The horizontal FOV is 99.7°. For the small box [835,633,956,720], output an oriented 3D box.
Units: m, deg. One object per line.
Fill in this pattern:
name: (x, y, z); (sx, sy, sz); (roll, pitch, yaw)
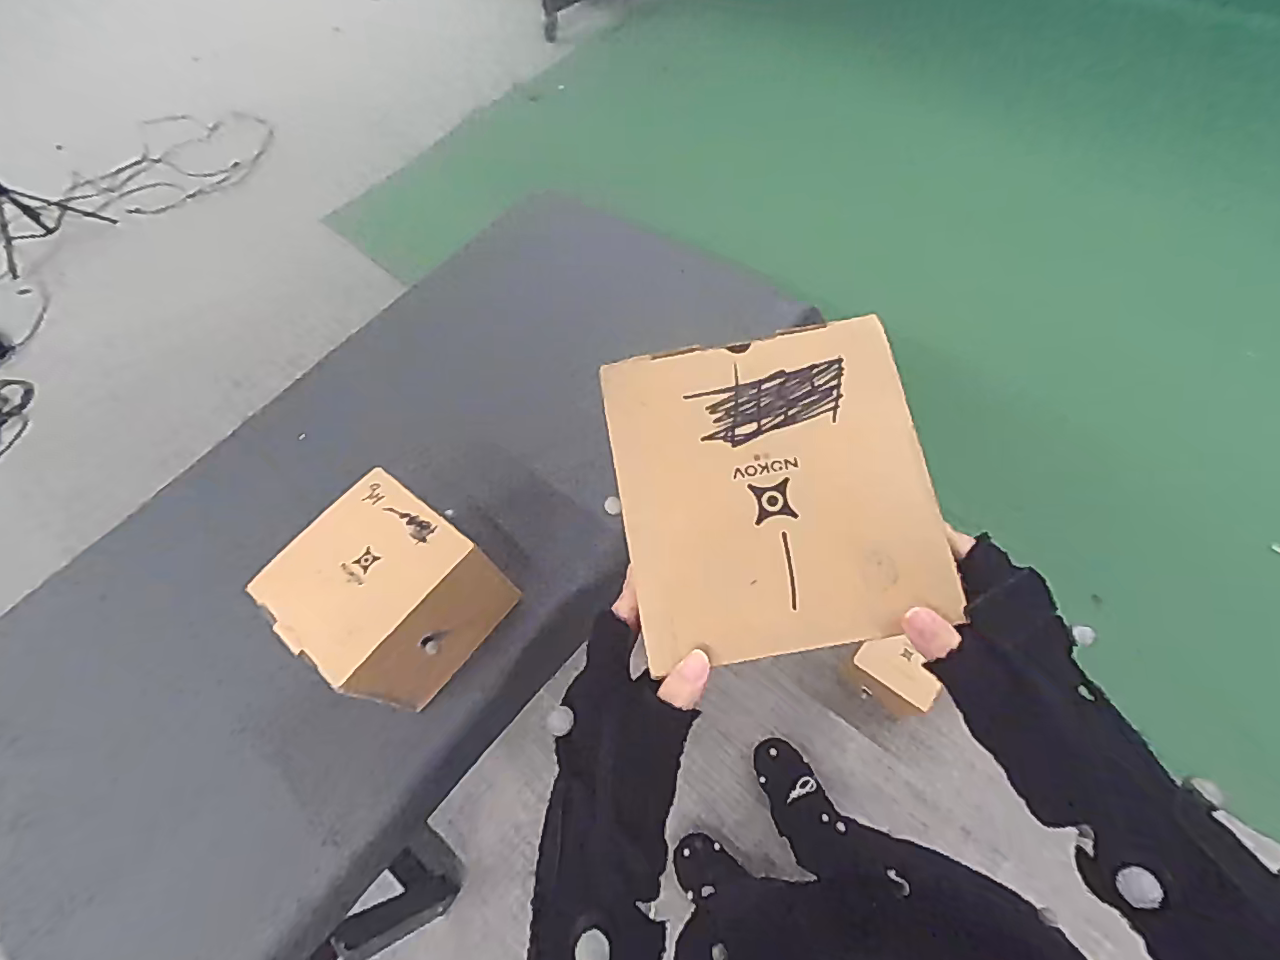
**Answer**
small box: (0.561, 0.411, 1.212); (0.168, 0.176, 0.179); (34, 71, 22)

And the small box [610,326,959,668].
small box: (0.076, 0.022, 0.373); (0.168, 0.176, 0.179); (-9, 77, 2)

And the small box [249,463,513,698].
small box: (-0.275, 0.121, 0.614); (0.168, 0.176, 0.179); (34, 70, 22)
